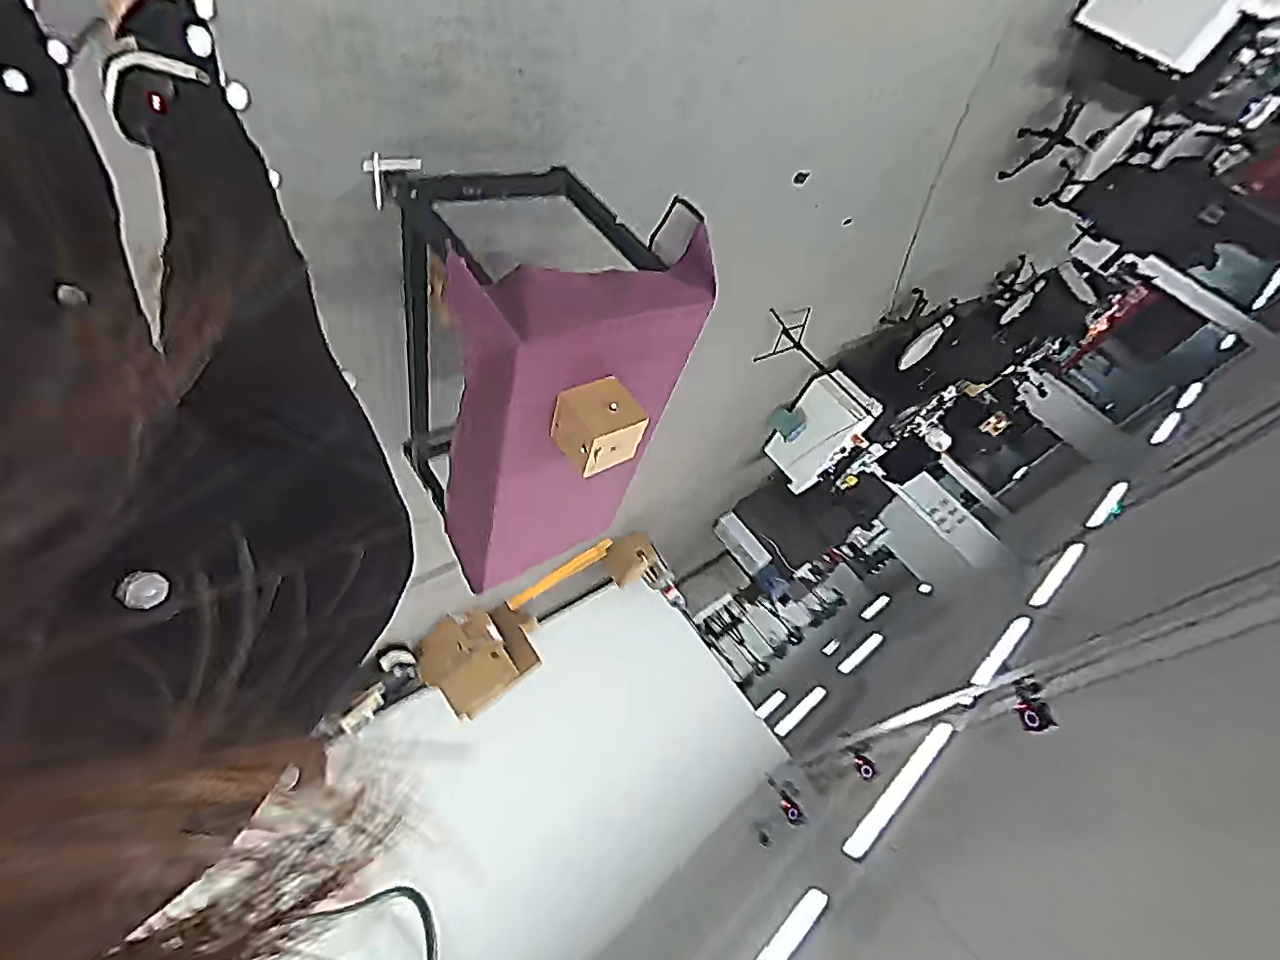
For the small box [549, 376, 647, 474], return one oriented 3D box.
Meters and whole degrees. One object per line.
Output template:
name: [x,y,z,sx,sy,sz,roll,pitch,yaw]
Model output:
small box: [-0.116,-0.152,1.434,0.179,0.176,0.168,-25,156,-33]
